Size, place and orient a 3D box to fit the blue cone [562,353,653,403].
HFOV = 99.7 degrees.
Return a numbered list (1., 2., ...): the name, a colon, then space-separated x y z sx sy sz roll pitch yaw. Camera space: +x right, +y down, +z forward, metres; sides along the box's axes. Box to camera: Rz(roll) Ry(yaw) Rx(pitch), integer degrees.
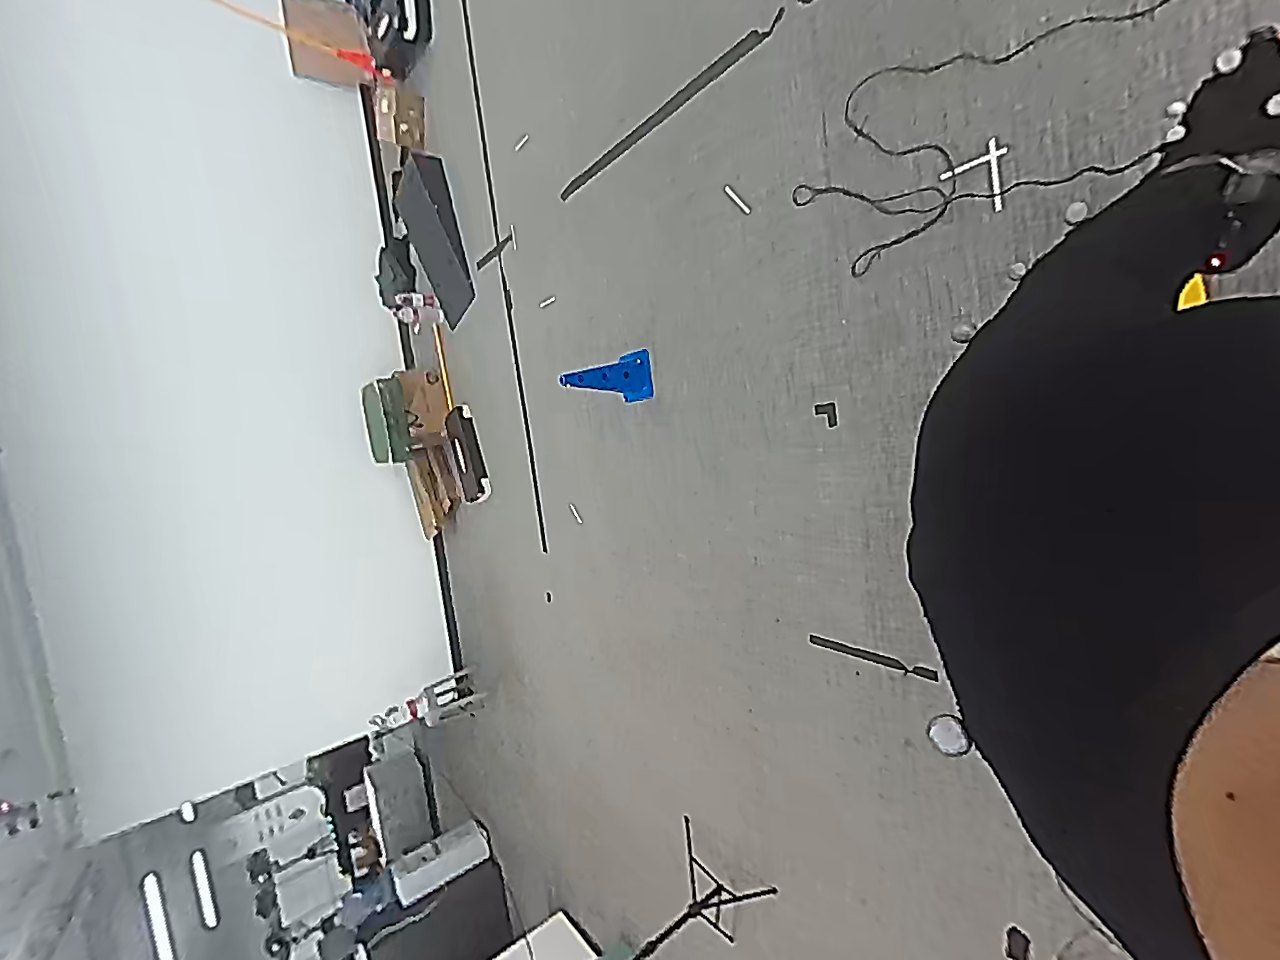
1. blue cone: -0.143 -0.394 2.148 0.193 0.380 0.192 1 100 53
